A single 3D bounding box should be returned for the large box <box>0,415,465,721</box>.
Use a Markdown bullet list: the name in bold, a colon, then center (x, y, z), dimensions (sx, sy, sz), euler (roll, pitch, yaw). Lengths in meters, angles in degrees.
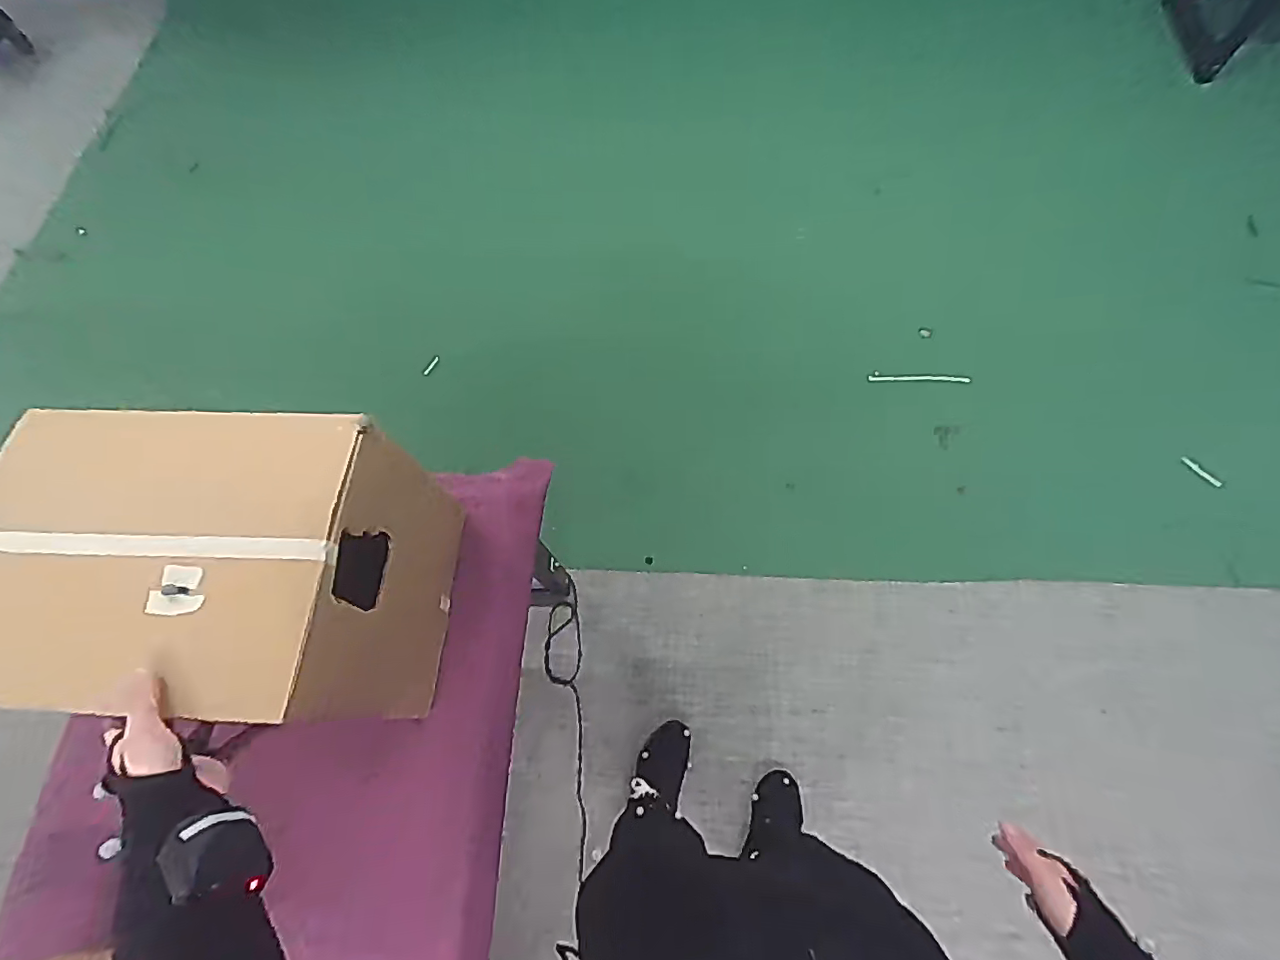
- **large box**: center (-0.485, 0.127, 0.679), dimensions (0.408, 0.320, 0.320), euler (1, 68, 3)
